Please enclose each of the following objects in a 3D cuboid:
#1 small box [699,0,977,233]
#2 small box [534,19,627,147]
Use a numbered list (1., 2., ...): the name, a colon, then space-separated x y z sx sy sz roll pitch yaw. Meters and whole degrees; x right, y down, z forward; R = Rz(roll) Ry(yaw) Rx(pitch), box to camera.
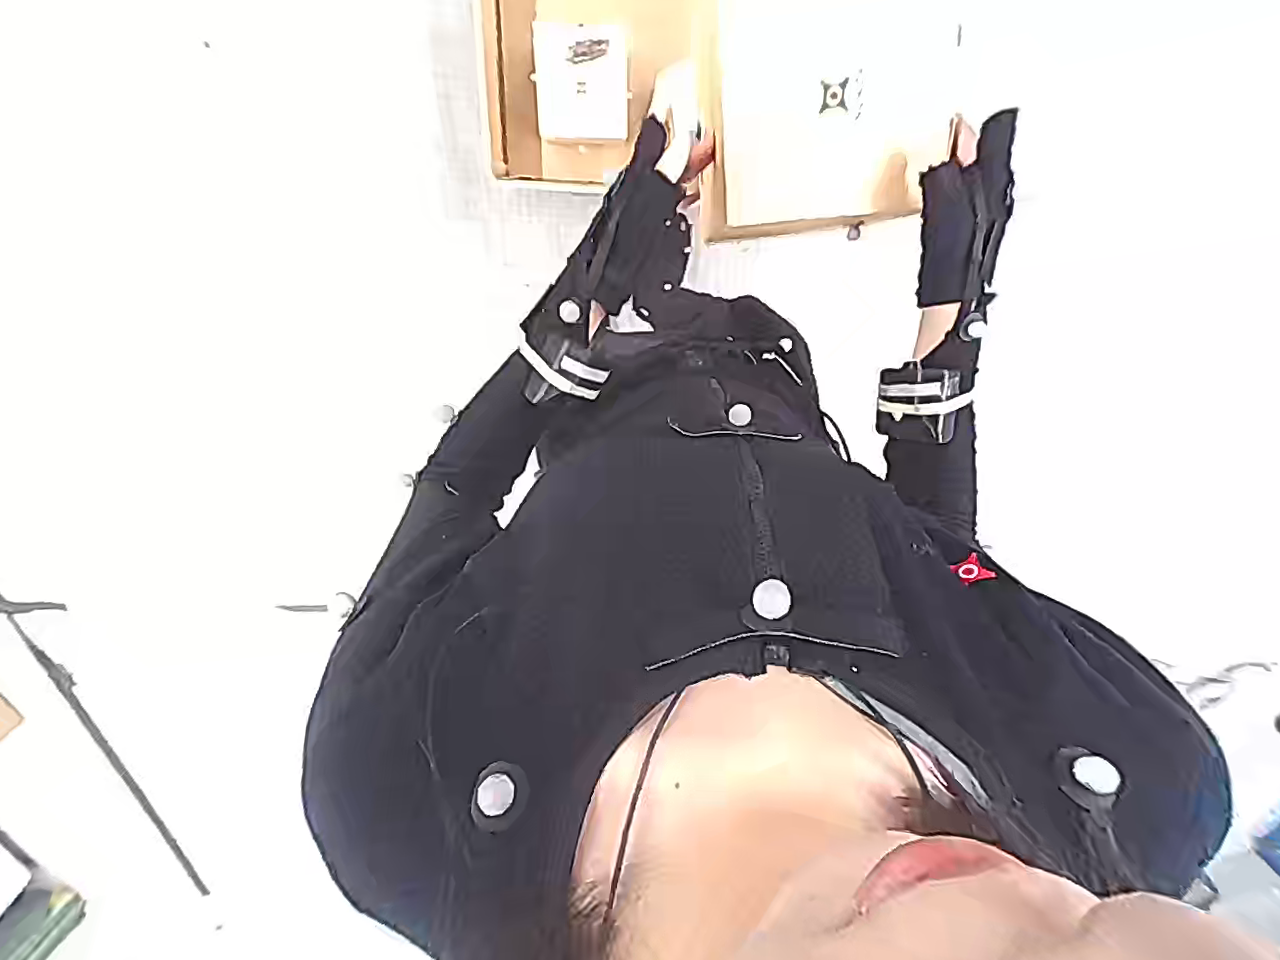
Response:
1. small box: 0.151 -0.315 0.465 0.179 0.176 0.168 -5 109 1
2. small box: -0.113 -0.766 1.060 0.168 0.176 0.179 -1 118 -4
